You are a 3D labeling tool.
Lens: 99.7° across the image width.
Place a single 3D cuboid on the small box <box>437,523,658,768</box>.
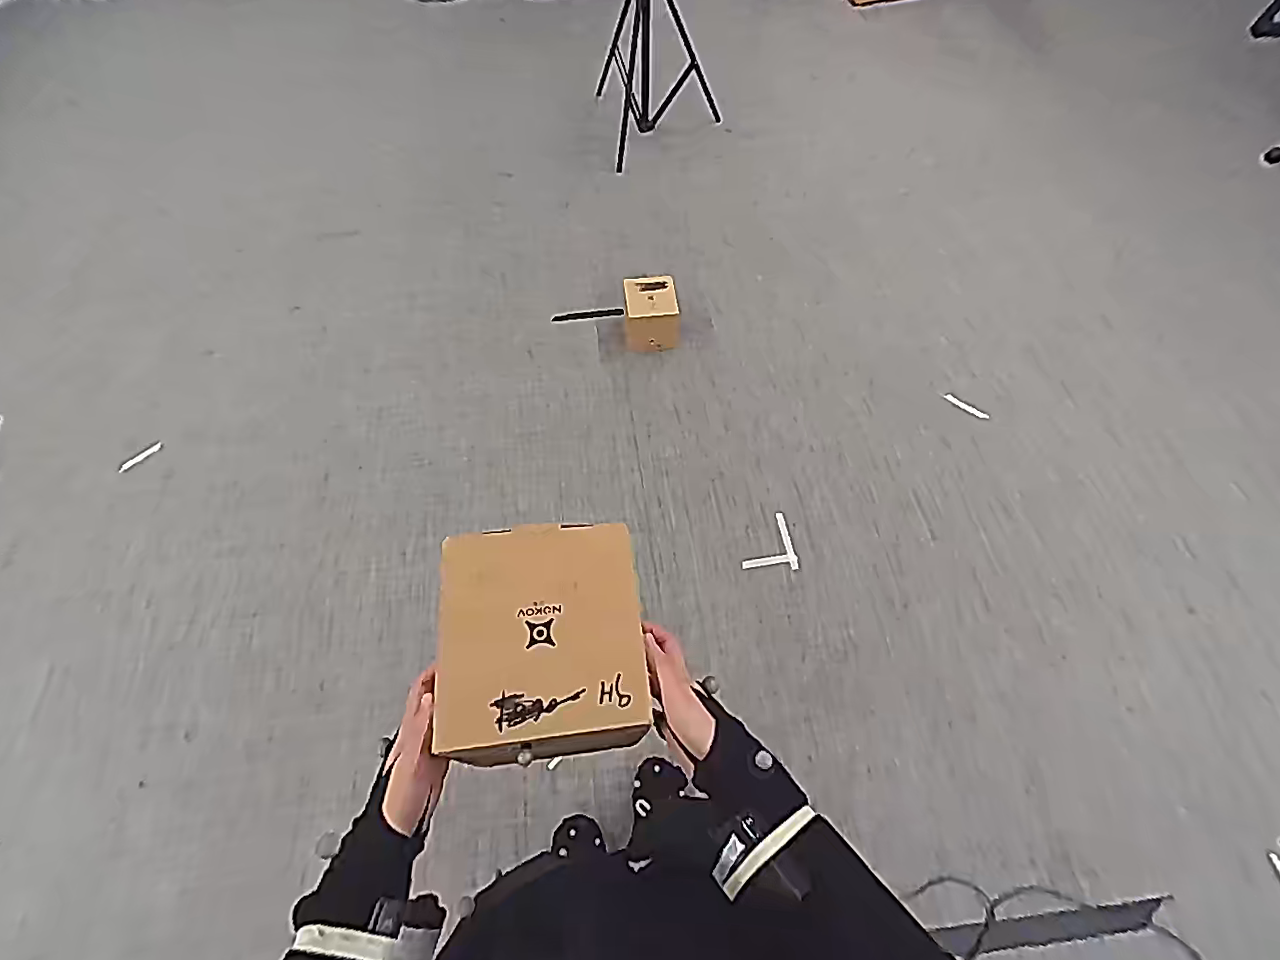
[{"bbox_3d":[-0.084,0.159,0.510,0.168,0.176,0.179,-4,59,-8],"label":"small box"}]
